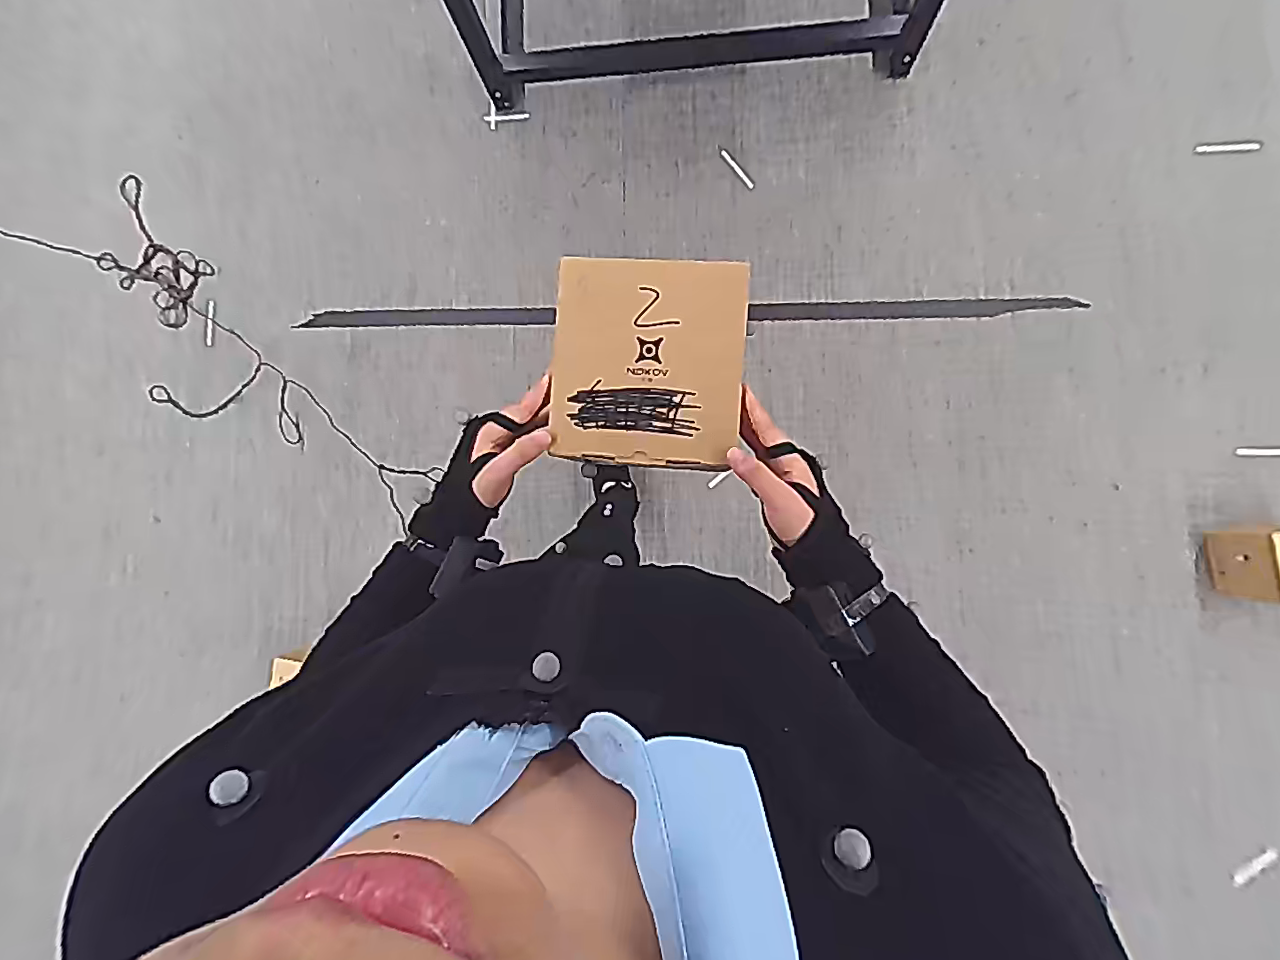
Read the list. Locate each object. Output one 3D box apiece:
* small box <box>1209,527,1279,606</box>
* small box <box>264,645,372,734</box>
[{"bbox_3d":[1.509,0.201,1.273,0.179,0.176,0.168,-7,85,4],"label":"small box"},{"bbox_3d":[-0.854,0.554,1.452,0.179,0.176,0.168,9,86,6],"label":"small box"}]
